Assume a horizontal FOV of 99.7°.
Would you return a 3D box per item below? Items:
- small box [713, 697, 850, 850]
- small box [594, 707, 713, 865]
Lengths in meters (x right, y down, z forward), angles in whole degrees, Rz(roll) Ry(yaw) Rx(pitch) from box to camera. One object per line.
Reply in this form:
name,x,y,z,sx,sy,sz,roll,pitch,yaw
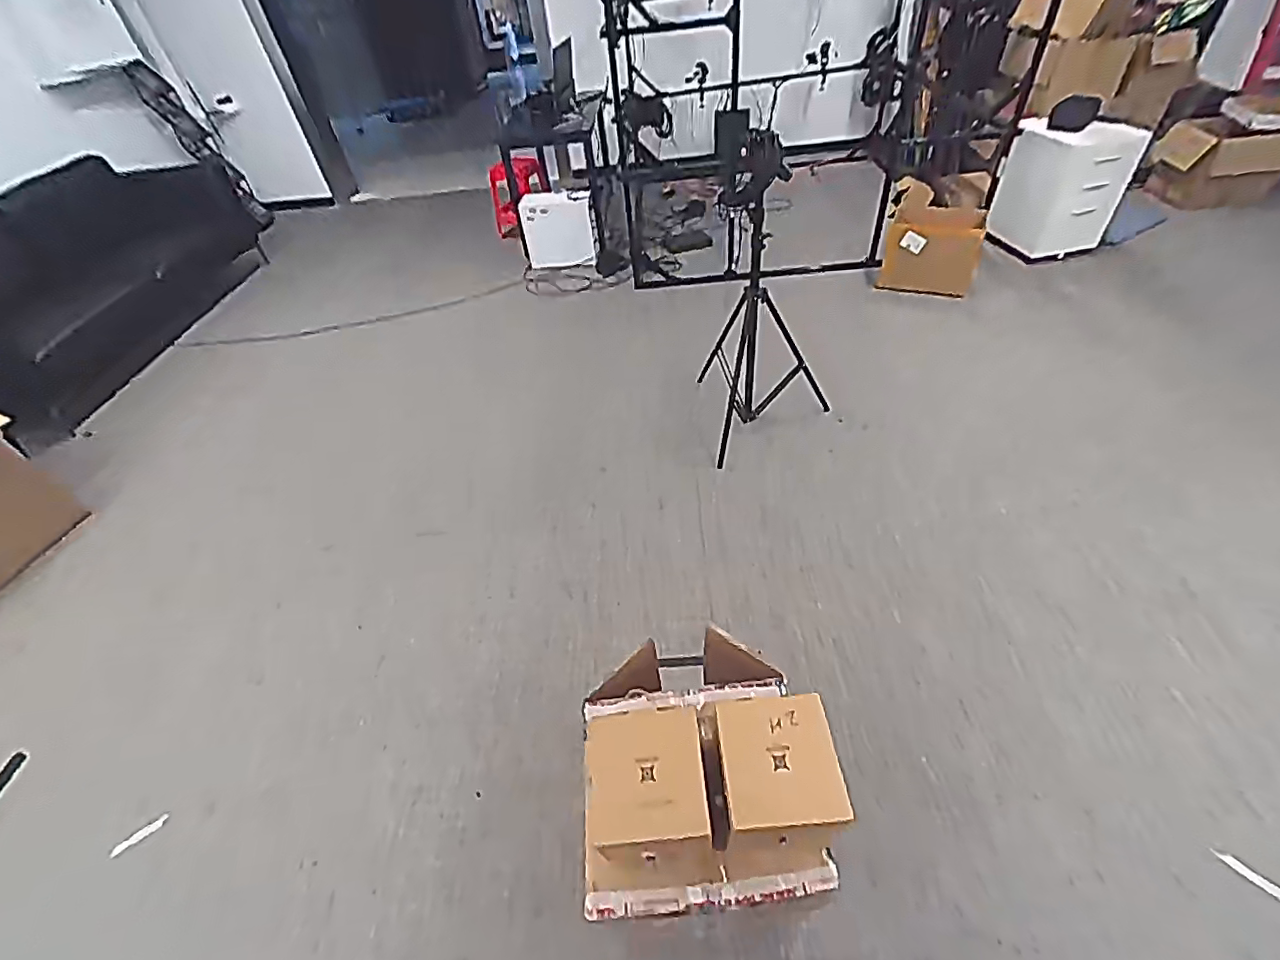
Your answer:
small box,0.207,0.463,0.846,0.168,0.176,0.179,-5,46,1
small box,0.021,0.483,0.851,0.168,0.176,0.179,-8,48,2
